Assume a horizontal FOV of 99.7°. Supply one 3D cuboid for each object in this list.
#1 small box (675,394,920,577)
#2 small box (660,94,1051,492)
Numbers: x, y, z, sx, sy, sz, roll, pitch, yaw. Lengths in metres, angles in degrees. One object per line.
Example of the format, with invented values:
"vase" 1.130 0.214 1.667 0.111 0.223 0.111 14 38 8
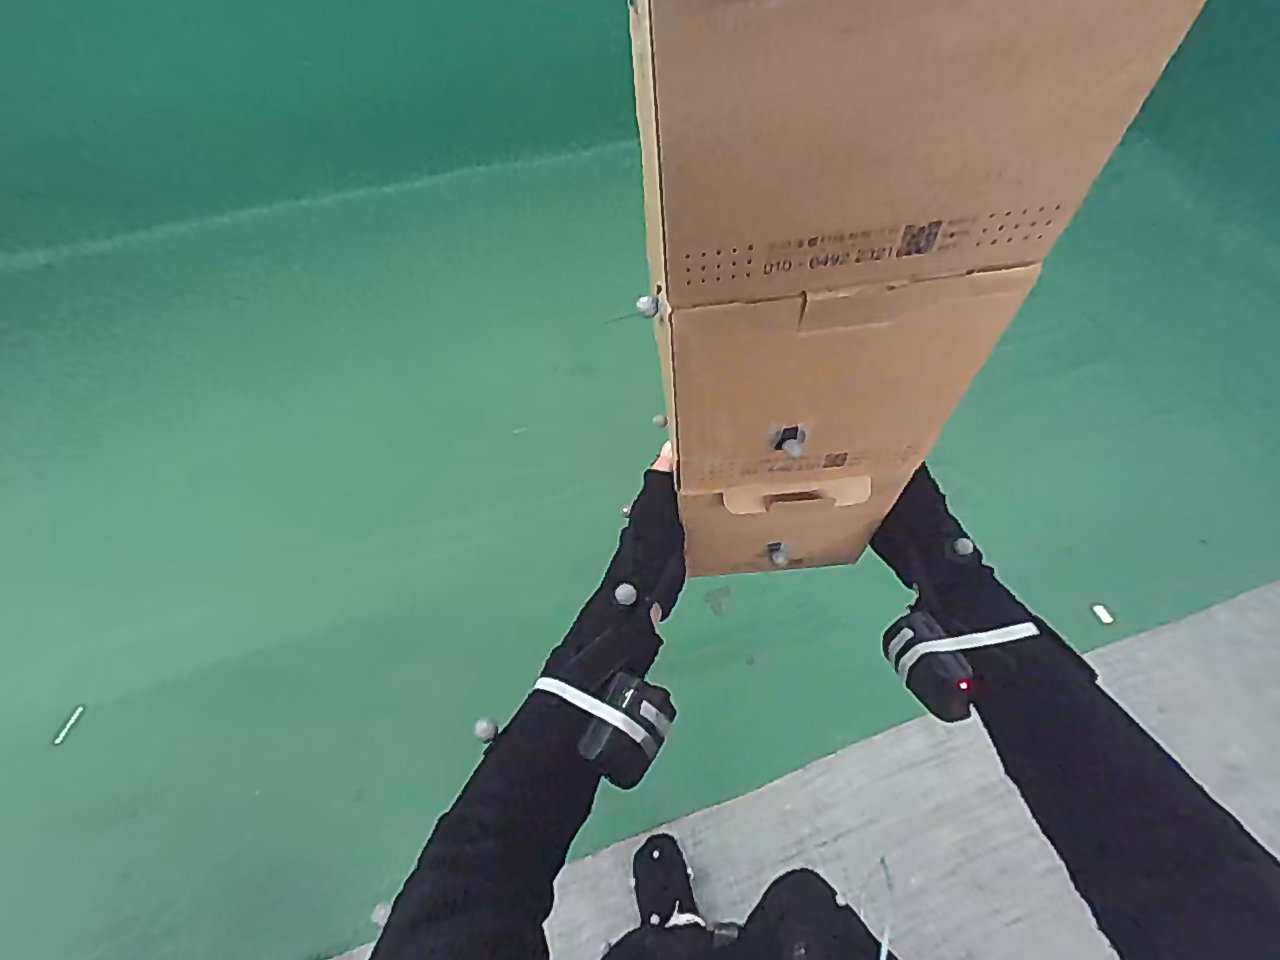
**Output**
"small box" 0.118 -0.027 0.493 0.168 0.176 0.179 -5 58 3
"small box" 0.103 -0.113 0.355 0.168 0.176 0.179 -7 58 1
